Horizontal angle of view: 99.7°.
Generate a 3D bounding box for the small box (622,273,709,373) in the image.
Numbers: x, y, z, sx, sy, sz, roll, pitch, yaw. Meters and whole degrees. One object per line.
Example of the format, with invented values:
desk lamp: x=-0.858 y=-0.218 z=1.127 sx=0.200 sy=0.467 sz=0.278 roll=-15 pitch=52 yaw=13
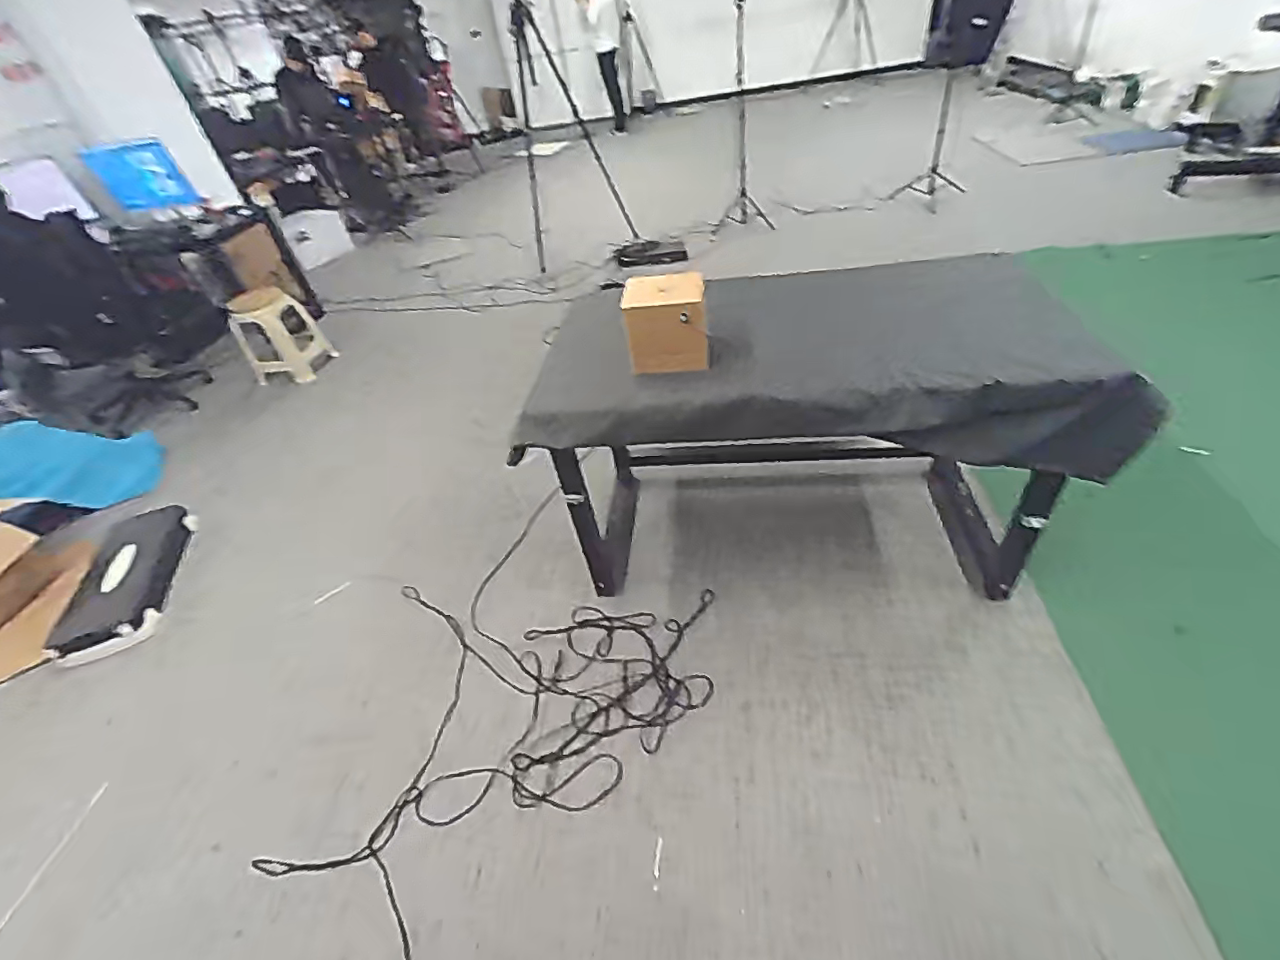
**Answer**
small box: x=0.067 y=-0.361 z=1.257 sx=0.179 sy=0.176 sz=0.168 roll=-2 pitch=41 yaw=10
